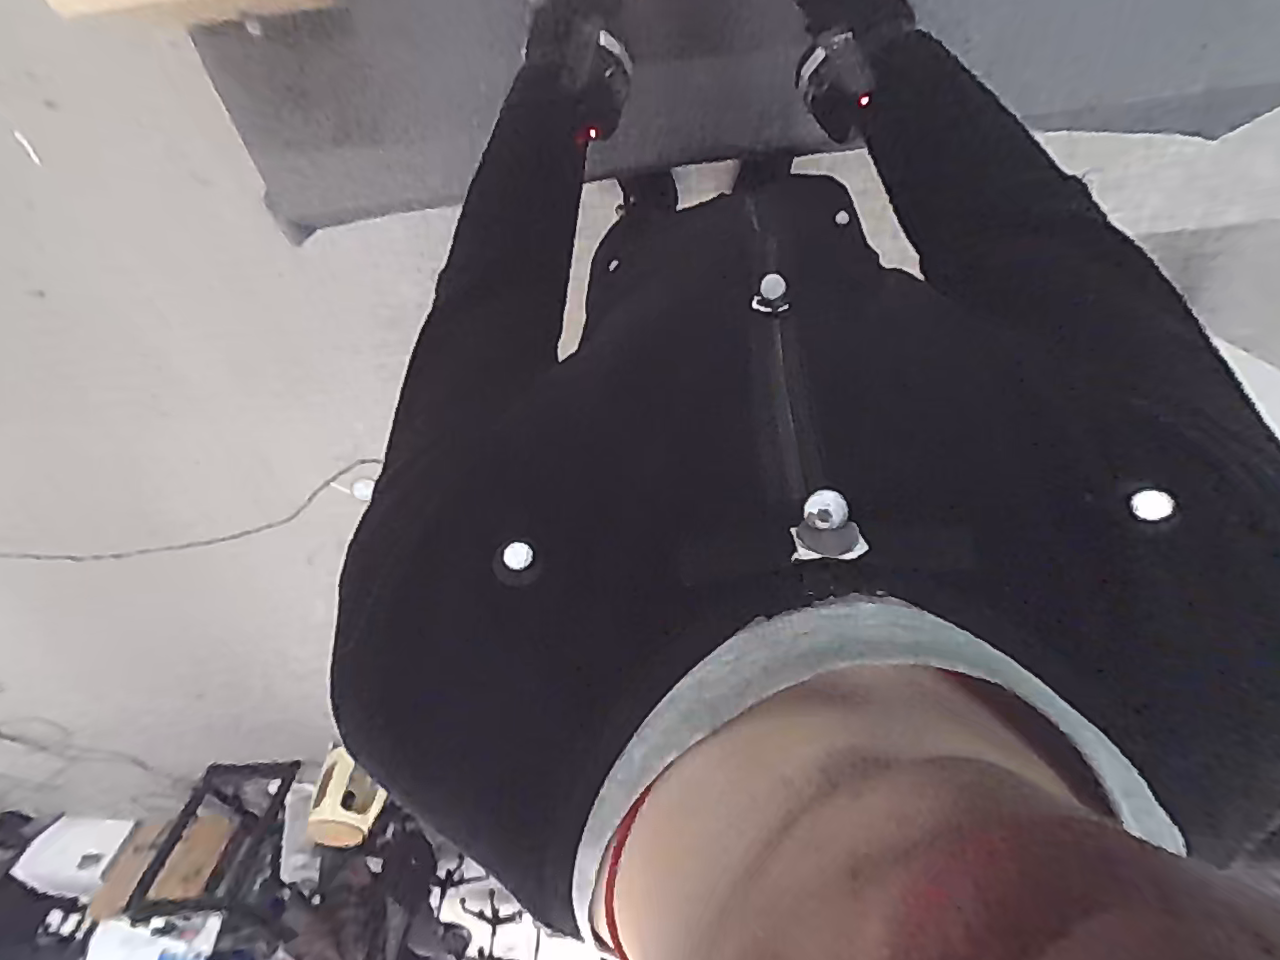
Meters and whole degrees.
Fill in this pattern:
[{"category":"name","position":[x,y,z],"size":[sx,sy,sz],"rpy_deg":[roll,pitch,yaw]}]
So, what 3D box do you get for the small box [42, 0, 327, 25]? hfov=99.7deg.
[{"category":"small box","position":[-0.380,-0.480,0.429],"size":[0.179,0.176,0.168],"rpy_deg":[-5,127,2]}]
